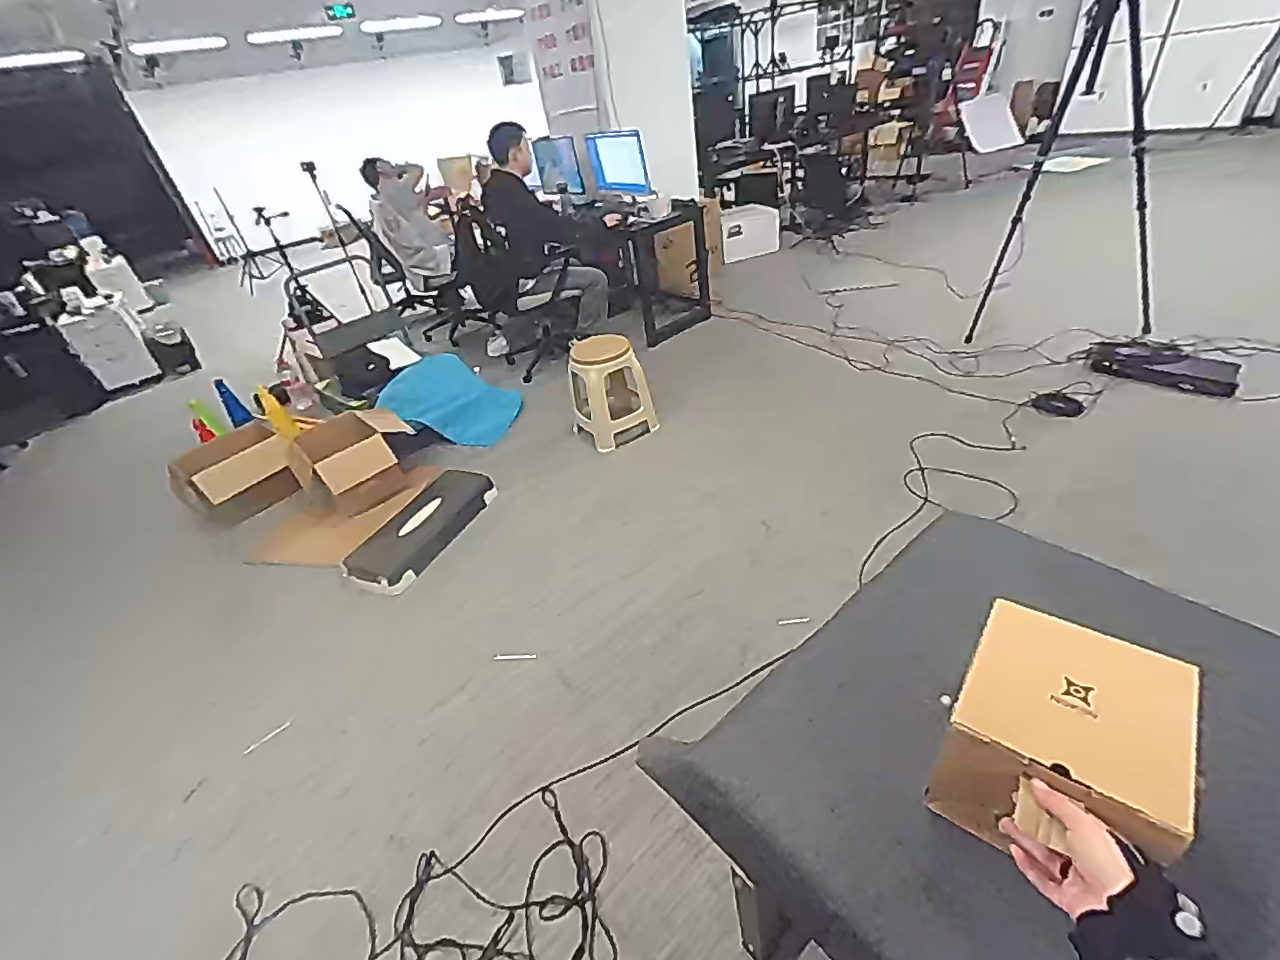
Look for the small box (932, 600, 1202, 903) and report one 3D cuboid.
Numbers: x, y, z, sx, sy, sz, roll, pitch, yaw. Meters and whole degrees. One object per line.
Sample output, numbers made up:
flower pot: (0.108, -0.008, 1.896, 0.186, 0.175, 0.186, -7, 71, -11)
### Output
small box: (0.413, 0.262, 0.542, 0.168, 0.176, 0.179, 19, 46, 34)
